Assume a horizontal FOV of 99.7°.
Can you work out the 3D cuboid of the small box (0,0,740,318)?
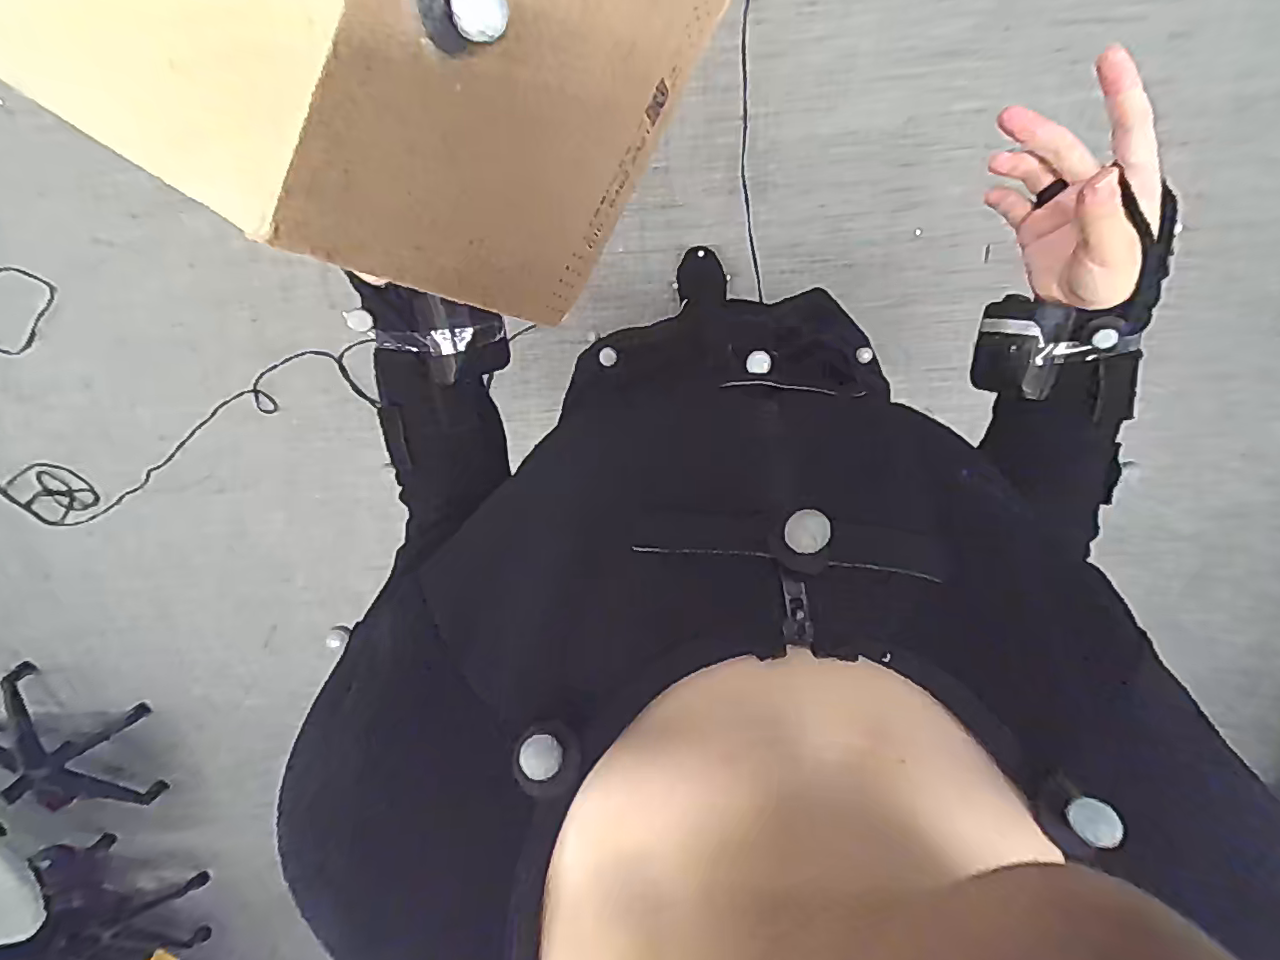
[{"bbox_3d":[-0.082,-0.174,0.191,0.179,0.176,0.168,32,105,7],"label":"small box"}]
